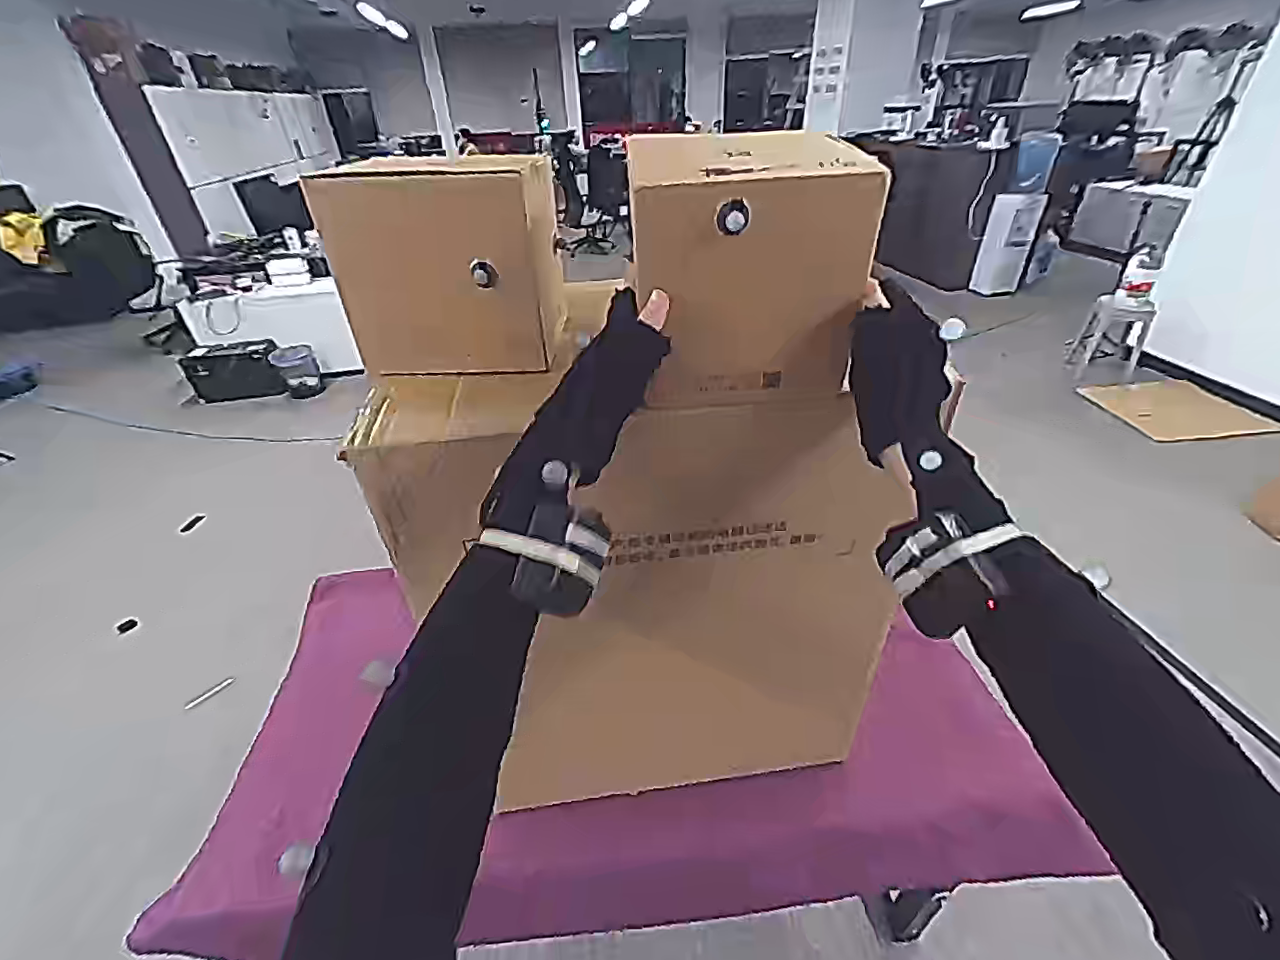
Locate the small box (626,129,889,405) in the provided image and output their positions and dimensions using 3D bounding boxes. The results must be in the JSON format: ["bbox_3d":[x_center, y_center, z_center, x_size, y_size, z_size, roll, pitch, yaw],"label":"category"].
[{"bbox_3d":[0.074,-0.179,0.451,0.168,0.176,0.179,-4,40,-1],"label":"small box"}]

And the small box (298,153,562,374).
[{"bbox_3d":[-0.177,-0.213,0.527,0.179,0.176,0.168,-2,33,1],"label":"small box"}]
